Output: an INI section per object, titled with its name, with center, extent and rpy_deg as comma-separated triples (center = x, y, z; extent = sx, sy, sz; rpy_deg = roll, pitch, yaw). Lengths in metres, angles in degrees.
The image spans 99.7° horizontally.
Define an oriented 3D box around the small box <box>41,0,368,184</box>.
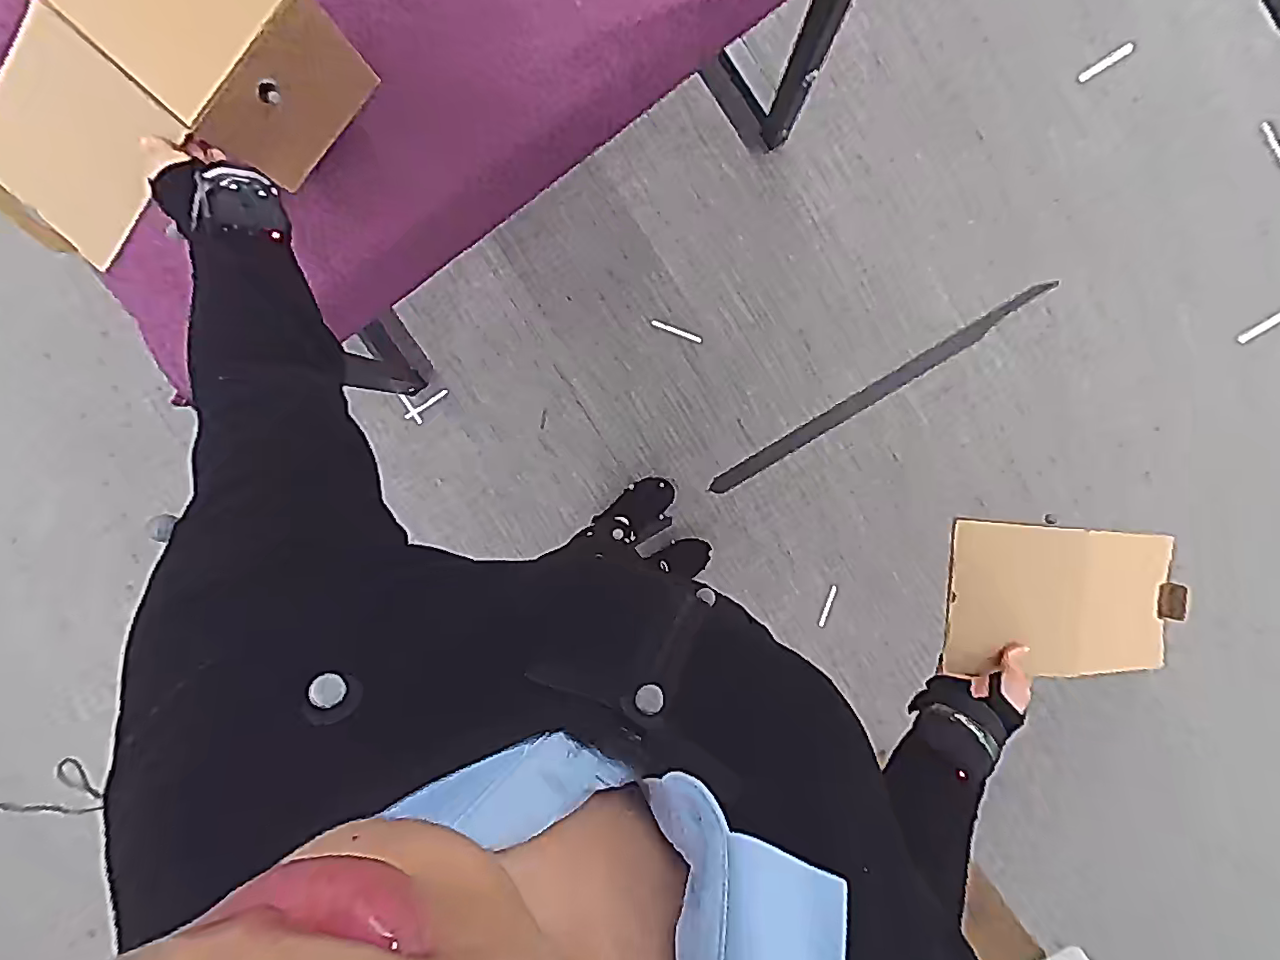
[small box]
center = -0.430, -0.456, 0.568
extent = 0.168, 0.176, 0.179
rpy_deg = 42, 96, -7
